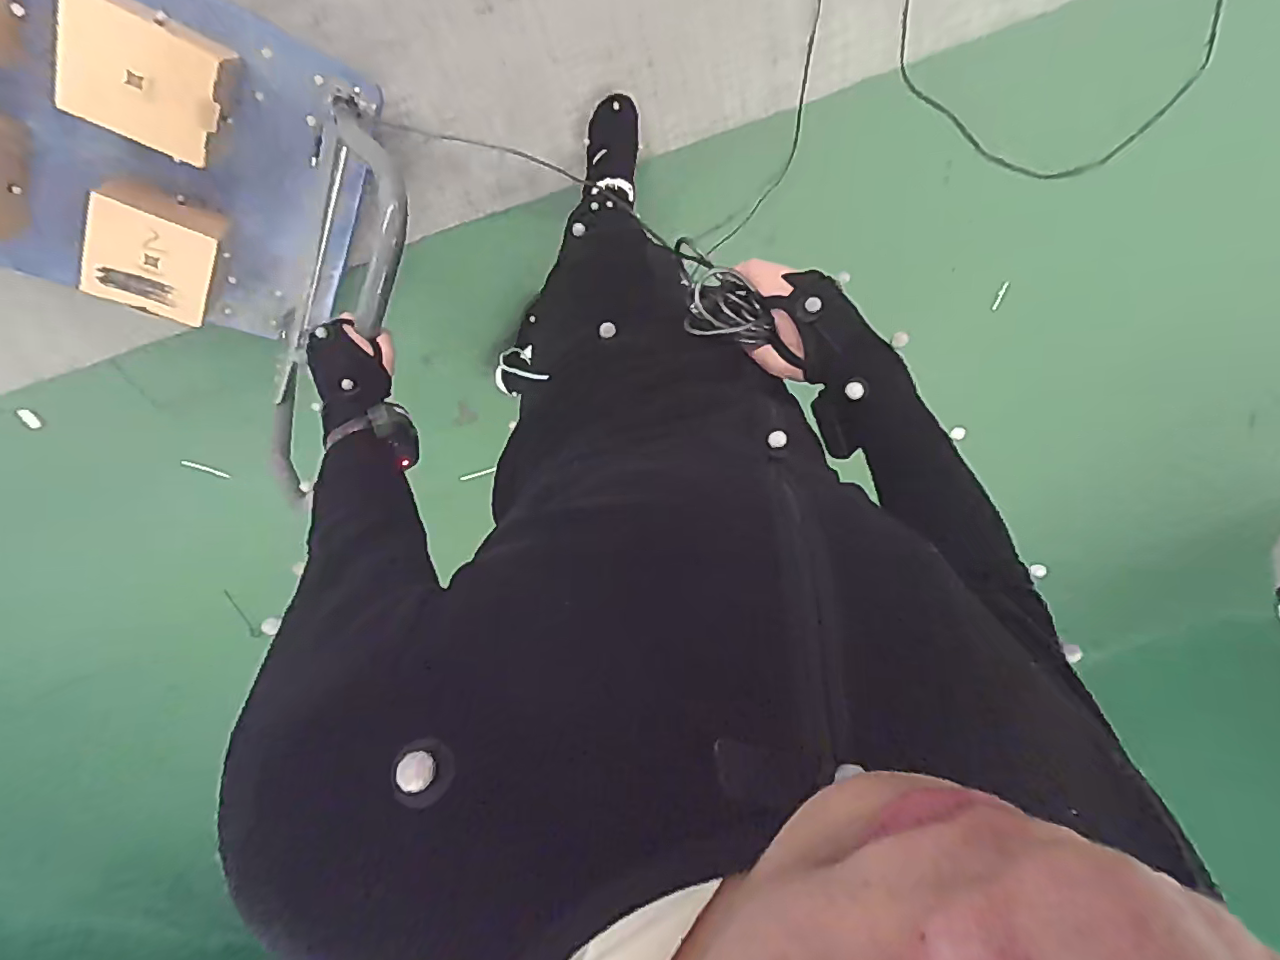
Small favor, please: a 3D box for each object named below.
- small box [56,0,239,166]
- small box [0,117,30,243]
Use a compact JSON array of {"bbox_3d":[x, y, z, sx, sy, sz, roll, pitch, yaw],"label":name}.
[{"bbox_3d":[-0.765,-0.633,0.854,0.179,0.176,0.168,13,120,-35],"label":"small box"},{"bbox_3d":[-1.082,-0.484,0.820,0.179,0.176,0.168,9,121,-31],"label":"small box"}]
